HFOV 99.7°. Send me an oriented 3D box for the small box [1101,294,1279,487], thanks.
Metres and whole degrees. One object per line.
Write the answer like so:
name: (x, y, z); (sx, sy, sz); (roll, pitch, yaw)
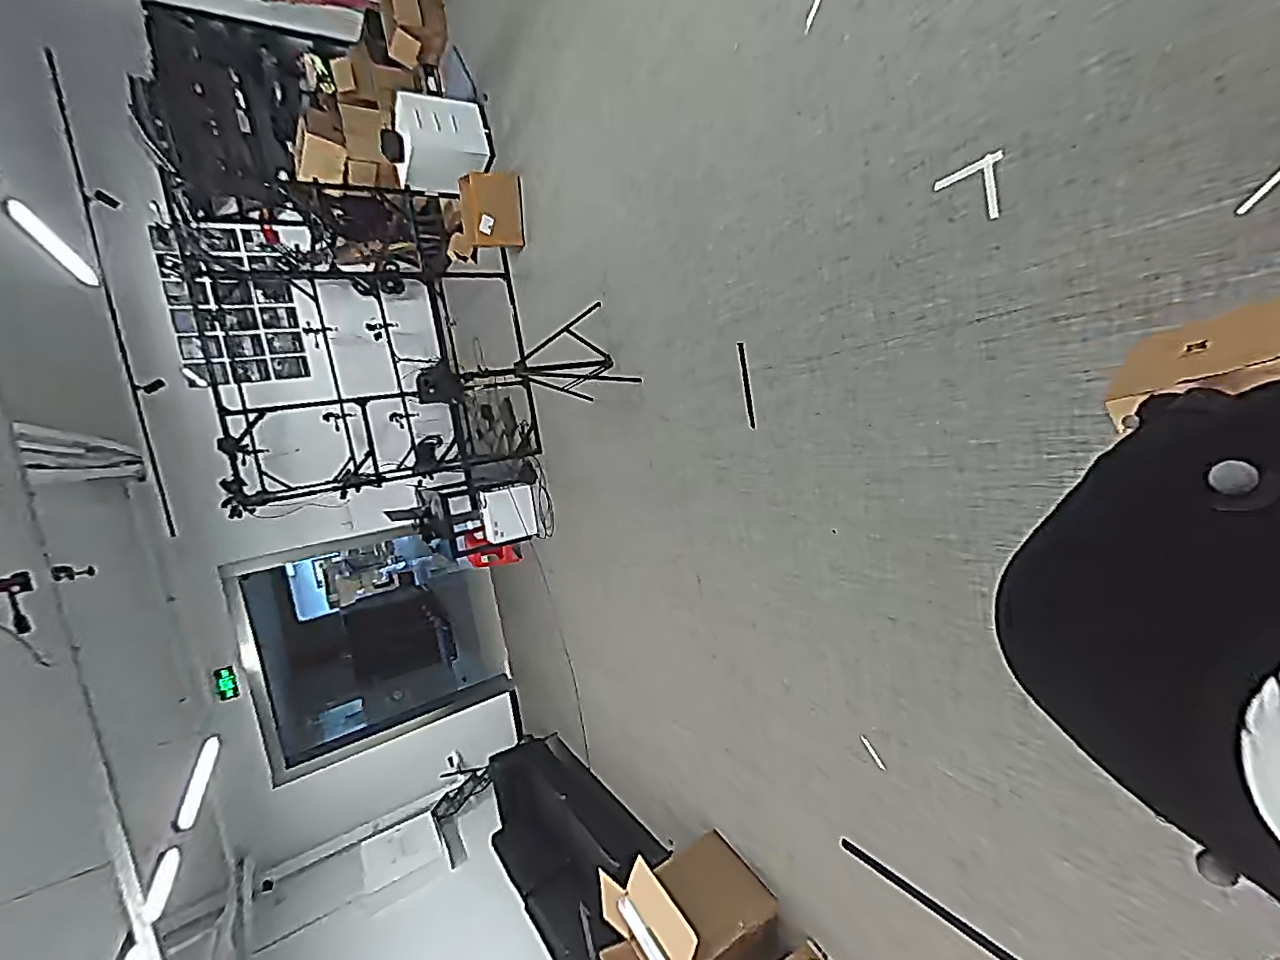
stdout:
small box: (0.758, -0.104, 0.706); (0.176, 0.179, 0.168); (53, 152, -10)
